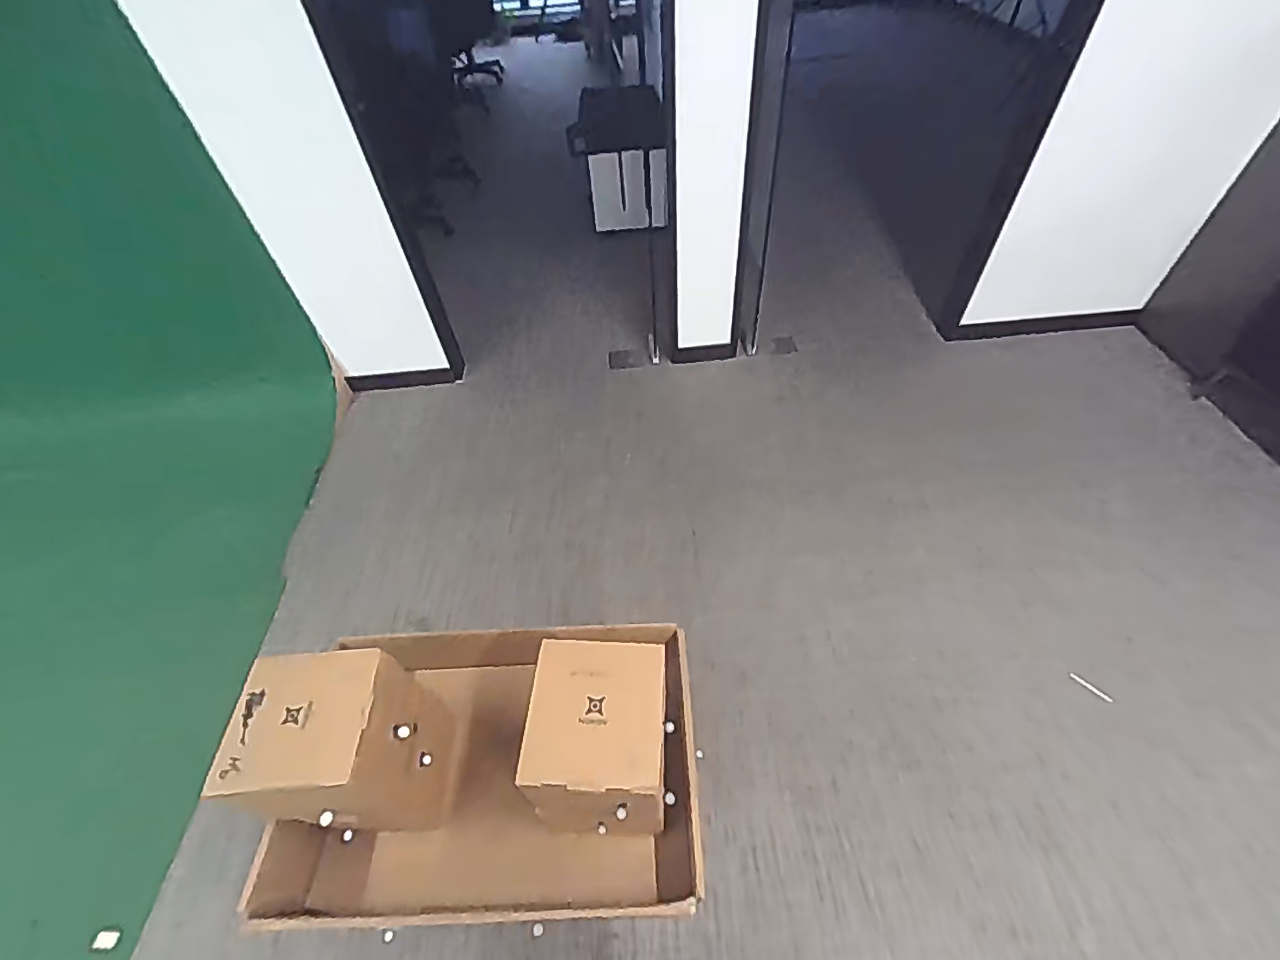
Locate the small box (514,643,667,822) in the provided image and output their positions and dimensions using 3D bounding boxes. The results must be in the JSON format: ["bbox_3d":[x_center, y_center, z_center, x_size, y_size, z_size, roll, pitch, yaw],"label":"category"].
[{"bbox_3d":[-0.052,0.338,0.719,0.168,0.176,0.179,2,48,5],"label":"small box"}]

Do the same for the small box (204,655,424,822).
[{"bbox_3d":[-0.417,0.353,0.735,0.179,0.176,0.168,-4,49,0],"label":"small box"}]
